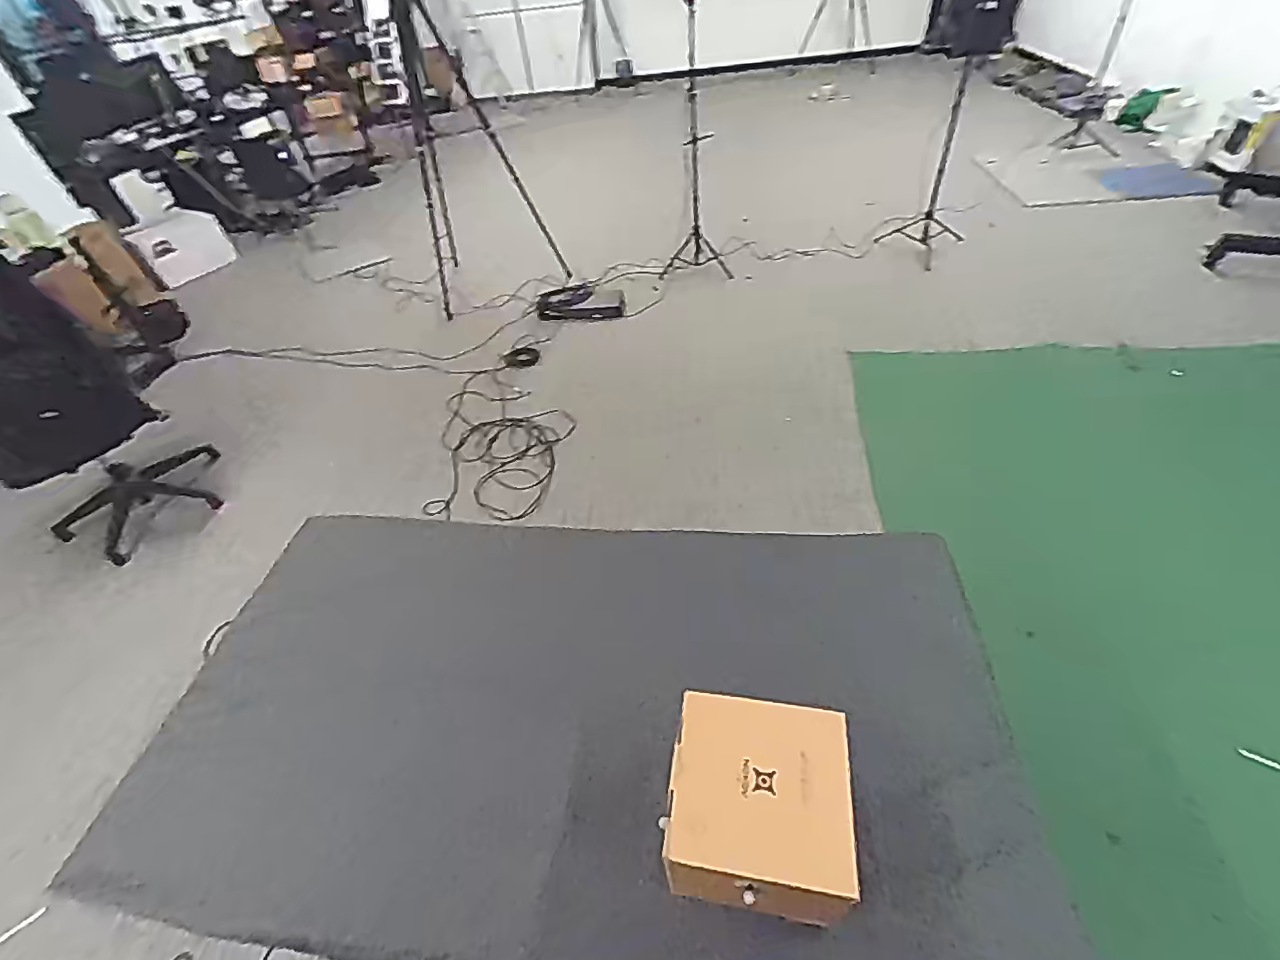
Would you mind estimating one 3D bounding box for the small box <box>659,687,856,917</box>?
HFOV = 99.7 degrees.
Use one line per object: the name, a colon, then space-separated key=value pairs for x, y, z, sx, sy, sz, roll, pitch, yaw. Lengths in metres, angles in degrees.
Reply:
small box: x=0.124 y=0.349 z=0.588 sx=0.179 sy=0.176 sz=0.168 roll=4 pitch=46 yaw=11
